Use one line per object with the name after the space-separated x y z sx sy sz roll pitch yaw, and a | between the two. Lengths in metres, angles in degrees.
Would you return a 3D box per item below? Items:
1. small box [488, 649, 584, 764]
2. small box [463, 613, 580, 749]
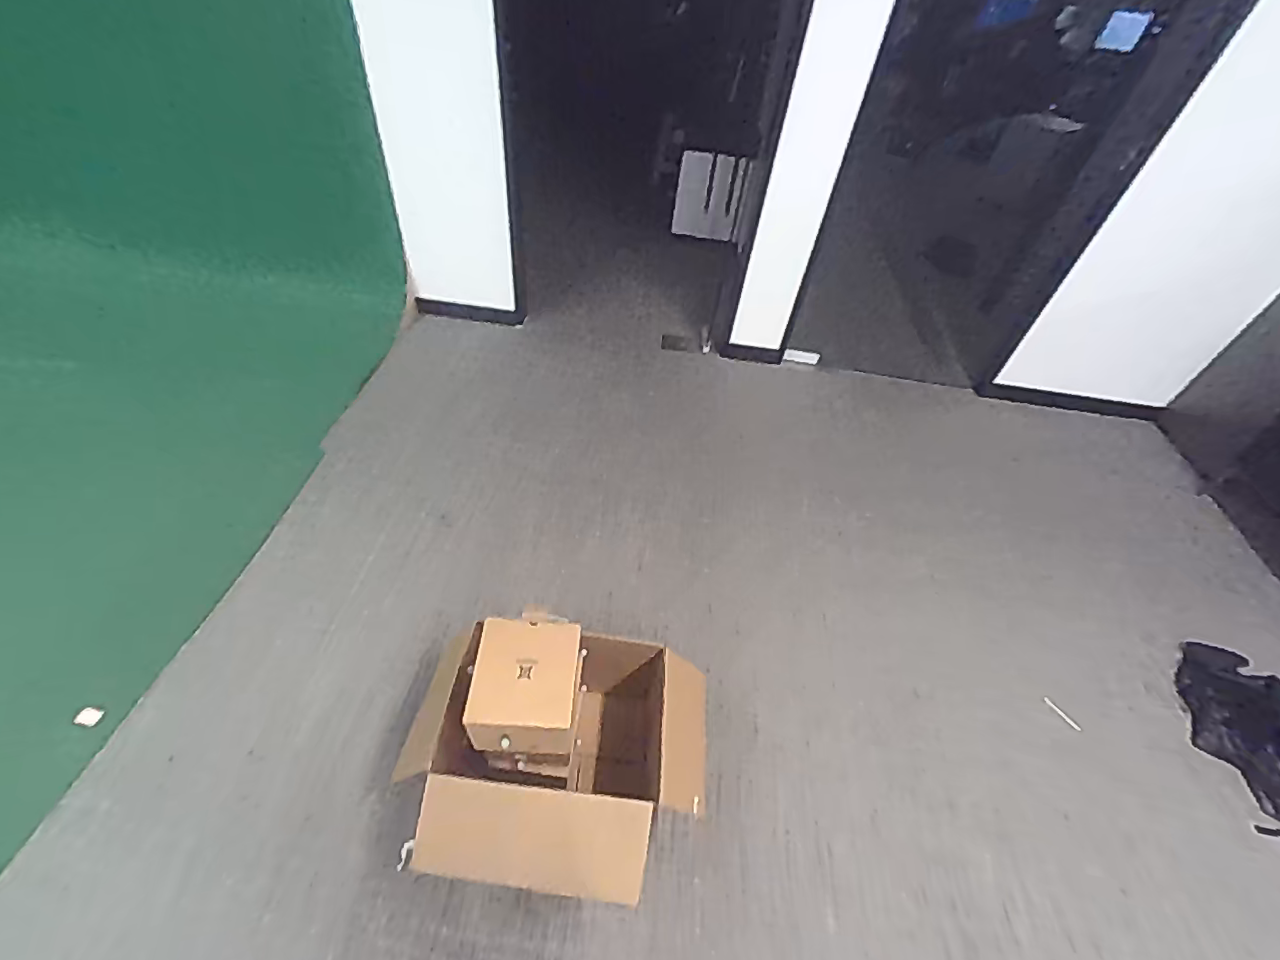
-0.207 0.441 1.069 0.168 0.176 0.179 7 51 -3 | small box
-0.193 0.351 0.934 0.168 0.176 0.179 5 49 -4 | small box
